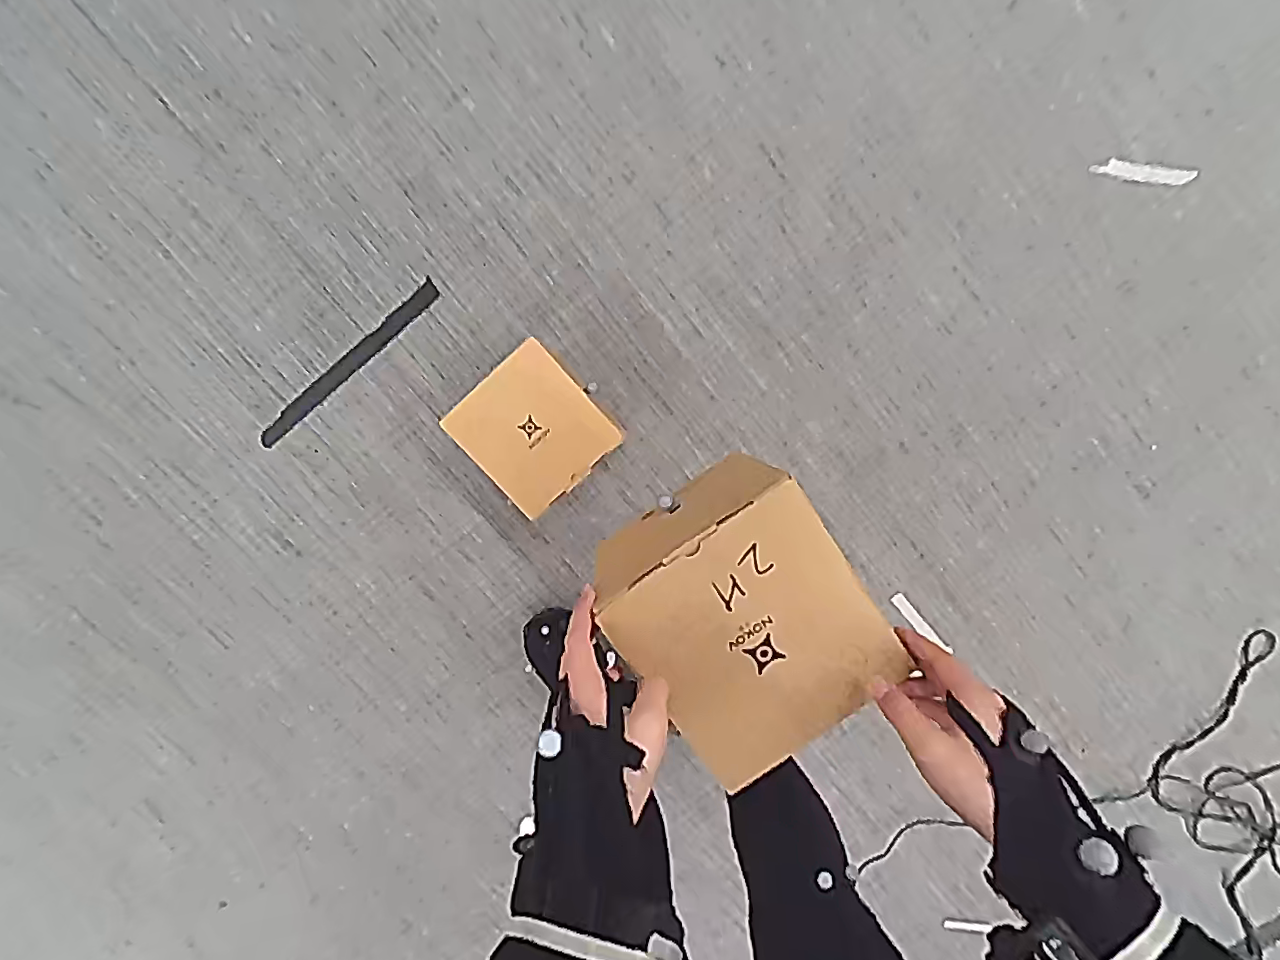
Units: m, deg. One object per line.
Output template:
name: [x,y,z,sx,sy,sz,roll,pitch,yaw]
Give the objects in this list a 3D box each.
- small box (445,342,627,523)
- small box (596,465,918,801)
small box: [-0.137,-0.067,0.769,0.168,0.176,0.179,-42,98,3]
small box: [0.080,0.106,0.450,0.168,0.176,0.179,-35,99,2]
